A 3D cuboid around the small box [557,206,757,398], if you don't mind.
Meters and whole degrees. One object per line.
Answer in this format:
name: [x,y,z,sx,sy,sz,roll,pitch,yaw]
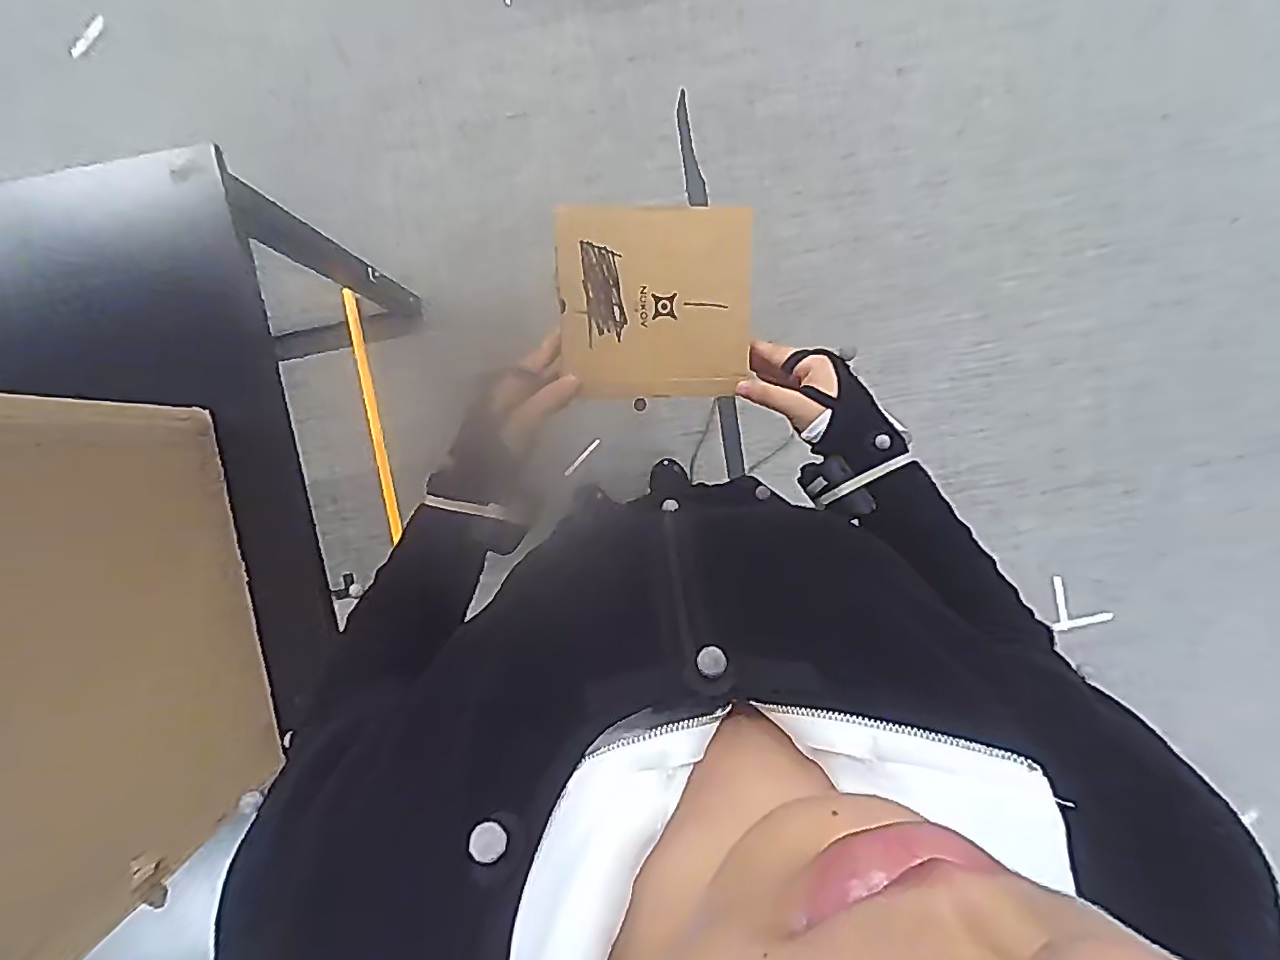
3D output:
small box: [0.013,-0.169,0.558,0.179,0.176,0.168,-2,101,-4]
